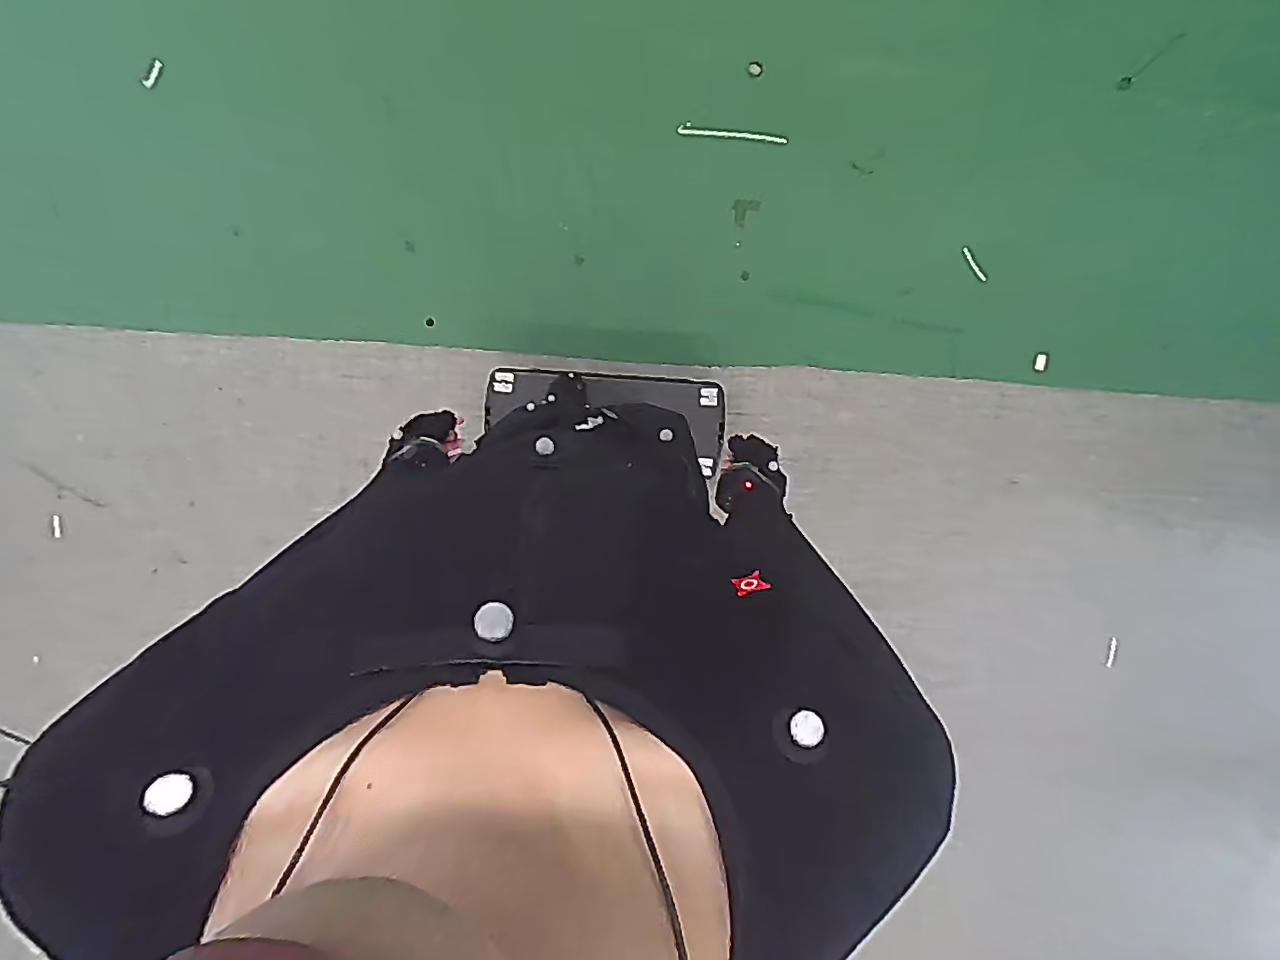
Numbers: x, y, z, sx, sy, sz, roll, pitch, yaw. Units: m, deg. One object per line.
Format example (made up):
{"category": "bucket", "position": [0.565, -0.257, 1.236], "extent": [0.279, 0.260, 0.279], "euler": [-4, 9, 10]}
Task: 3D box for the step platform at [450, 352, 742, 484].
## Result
{"category": "step platform", "position": [-0.104, -0.156, 1.359], "extent": [0.684, 0.204, 0.286], "euler": [3, 99, -2]}
